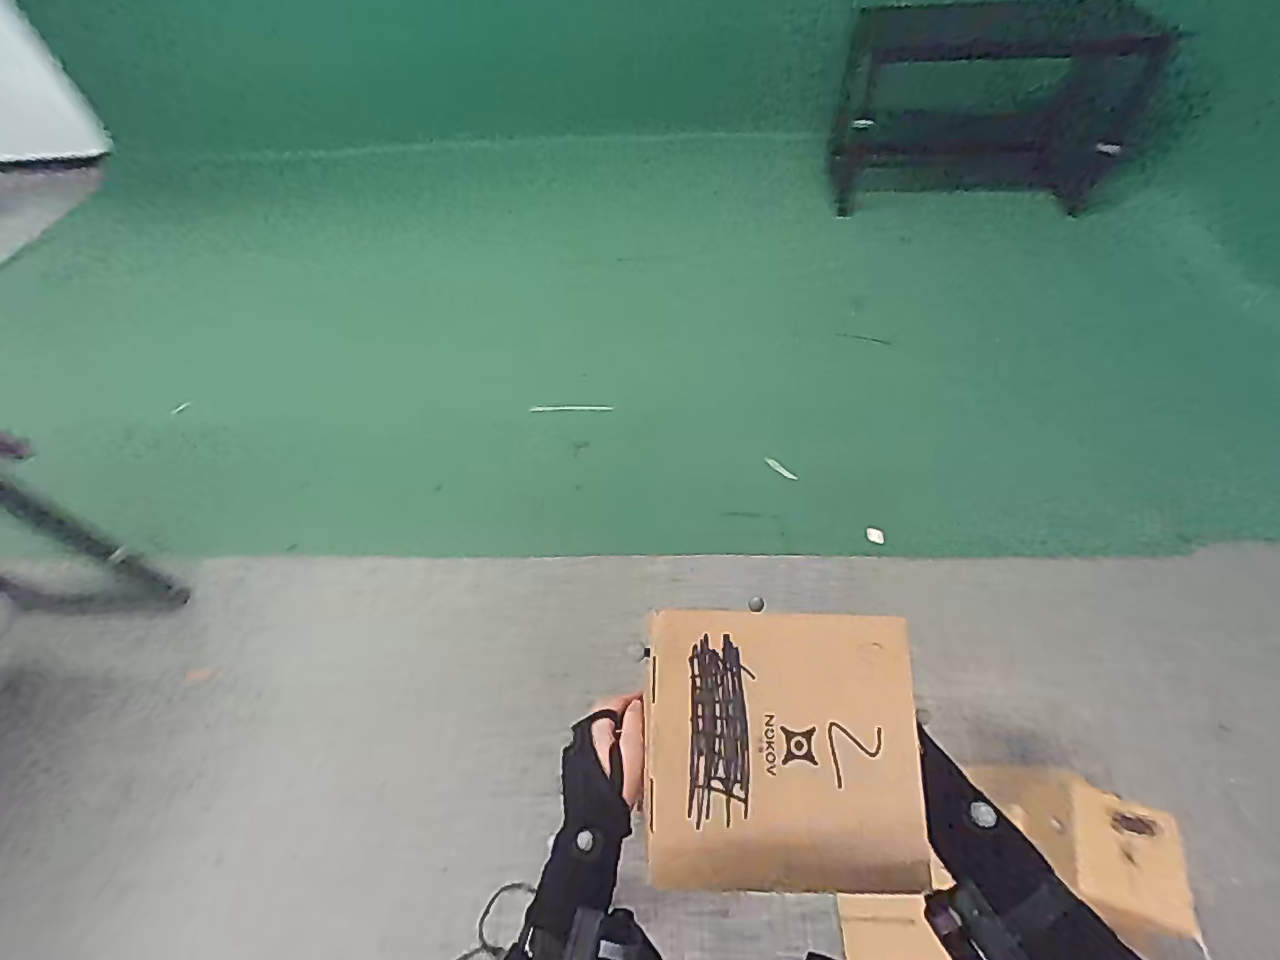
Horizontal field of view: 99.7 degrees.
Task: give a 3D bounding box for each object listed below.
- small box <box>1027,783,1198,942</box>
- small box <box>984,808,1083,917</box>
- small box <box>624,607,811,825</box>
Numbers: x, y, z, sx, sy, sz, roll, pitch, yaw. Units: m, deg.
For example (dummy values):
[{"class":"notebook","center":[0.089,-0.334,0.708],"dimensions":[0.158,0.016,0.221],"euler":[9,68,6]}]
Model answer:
[{"class":"small box","center":[0.825,0.678,0.969],"dimensions":[0.168,0.176,0.179],"euler":[16,56,14]},{"class":"small box","center":[0.836,0.779,1.099],"dimensions":[0.179,0.176,0.168],"euler":[2,53,4]},{"class":"small box","center":[0.074,0.238,0.581],"dimensions":[0.168,0.176,0.179],"euler":[7,73,-1]}]
